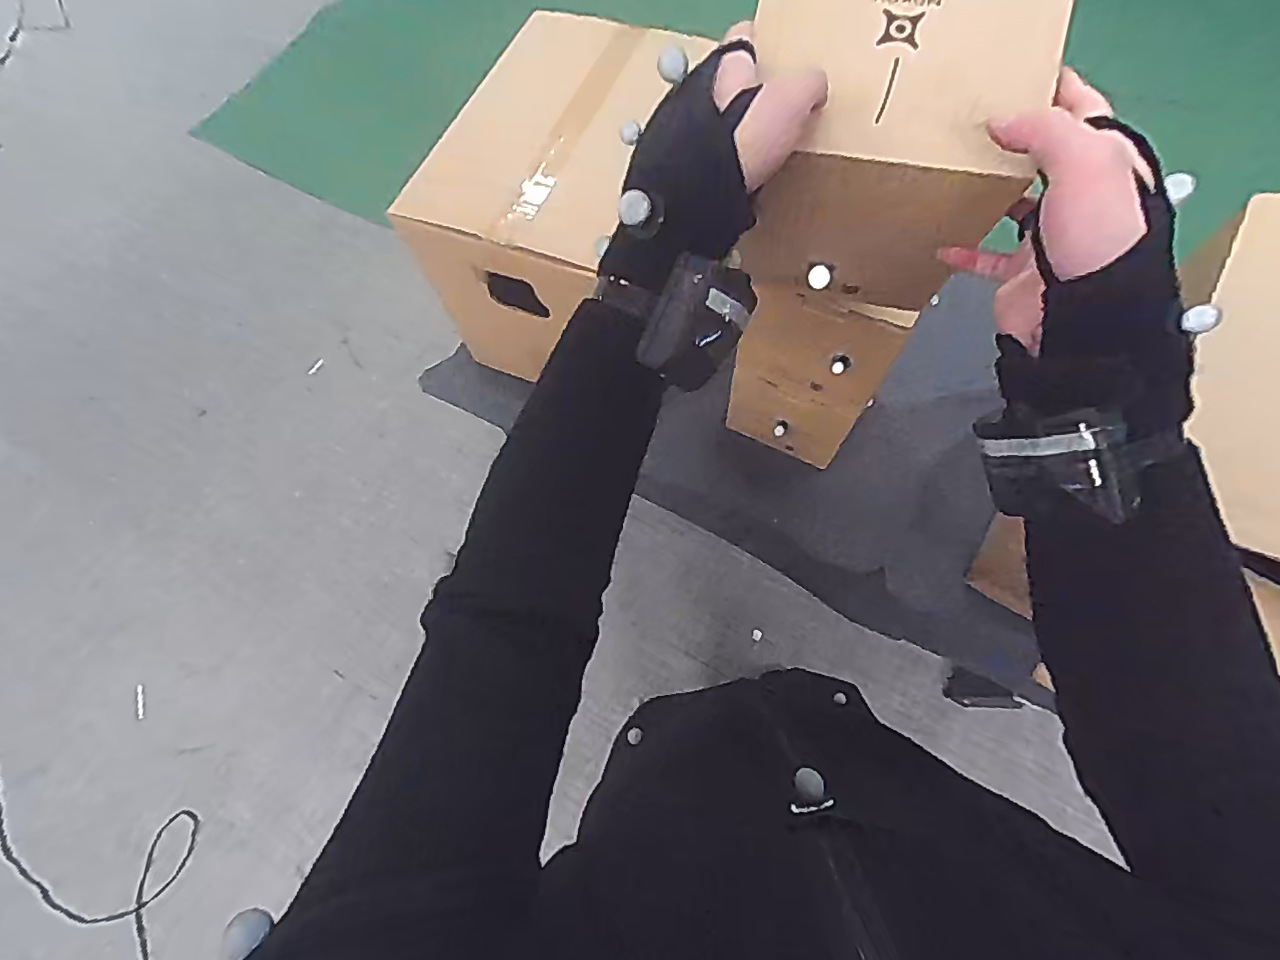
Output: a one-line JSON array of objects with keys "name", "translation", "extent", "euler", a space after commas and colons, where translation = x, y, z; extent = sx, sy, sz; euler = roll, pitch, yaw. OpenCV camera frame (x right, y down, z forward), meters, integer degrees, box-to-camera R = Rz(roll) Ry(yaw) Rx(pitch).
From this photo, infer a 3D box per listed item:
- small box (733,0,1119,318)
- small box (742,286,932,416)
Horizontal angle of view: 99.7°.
[{"name": "small box", "translation": [0.158, -0.231, 0.349], "extent": [0.168, 0.176, 0.179], "euler": [14, 87, 9]}, {"name": "small box", "translation": [0.221, -0.198, 0.590], "extent": [0.168, 0.176, 0.179], "euler": [26, 73, 12]}]
